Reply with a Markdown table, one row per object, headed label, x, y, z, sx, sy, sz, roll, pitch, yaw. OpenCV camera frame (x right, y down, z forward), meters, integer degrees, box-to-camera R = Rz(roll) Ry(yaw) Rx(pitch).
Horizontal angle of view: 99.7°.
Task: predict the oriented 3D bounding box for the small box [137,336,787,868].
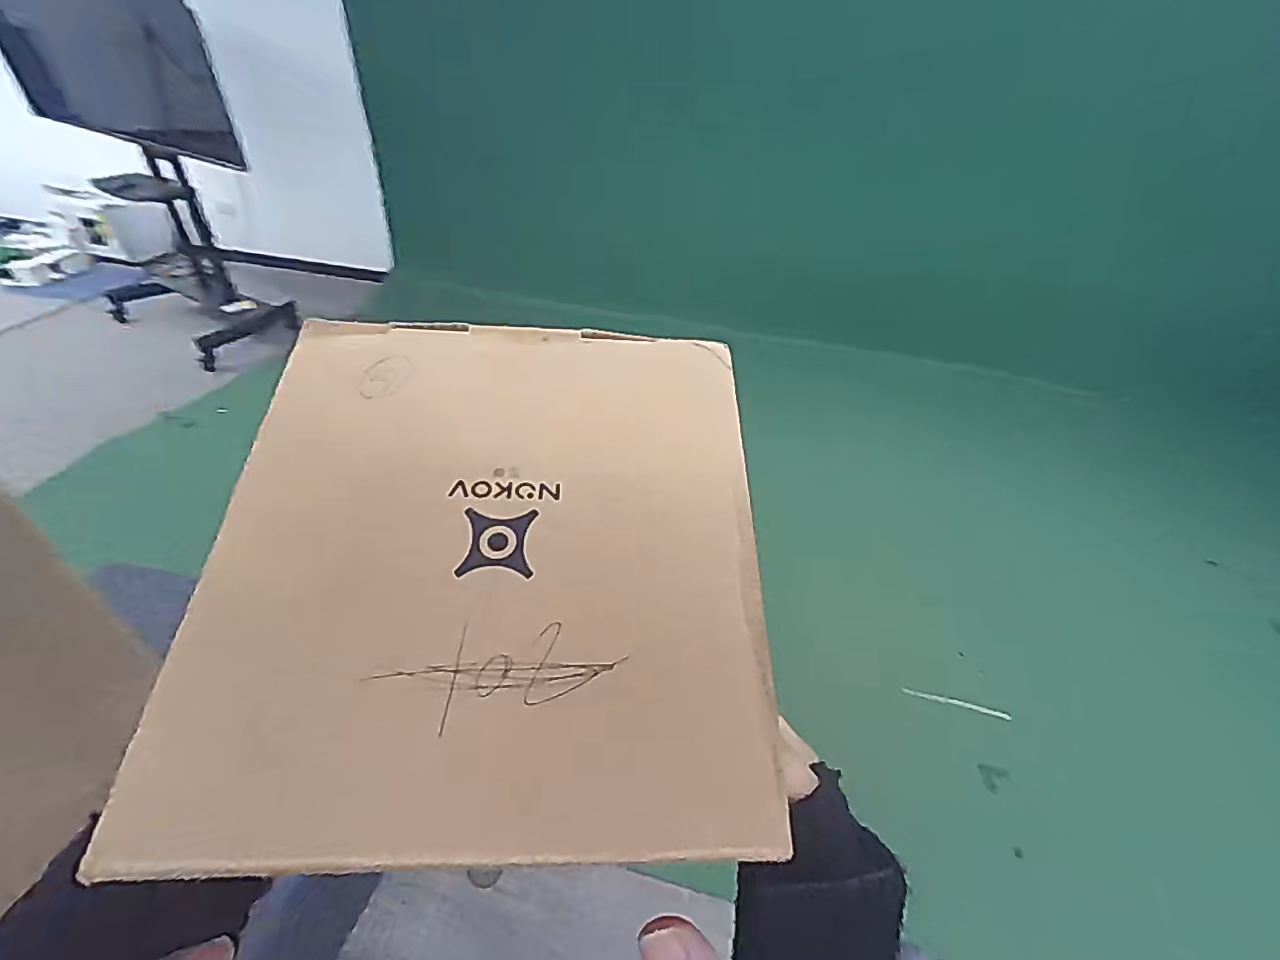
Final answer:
| label | x | y | z | sx | sy | sz | roll | pitch | yaw |
| --- | --- | --- | --- | --- | --- | --- | --- | --- | --- |
| small box | -0.048 | 0.061 | 0.246 | 0.168 | 0.176 | 0.179 | 2 | 60 | -3 |
